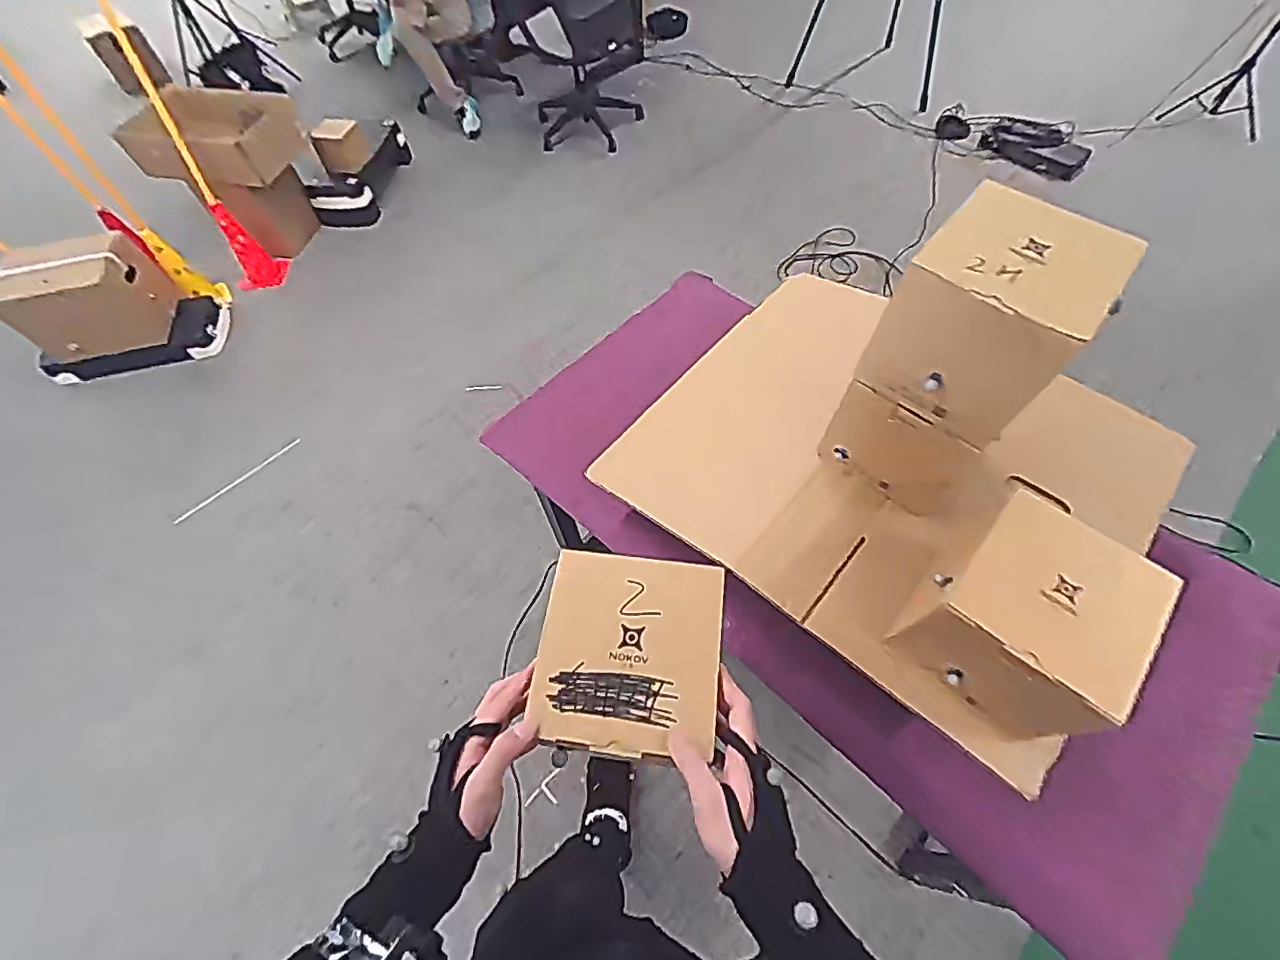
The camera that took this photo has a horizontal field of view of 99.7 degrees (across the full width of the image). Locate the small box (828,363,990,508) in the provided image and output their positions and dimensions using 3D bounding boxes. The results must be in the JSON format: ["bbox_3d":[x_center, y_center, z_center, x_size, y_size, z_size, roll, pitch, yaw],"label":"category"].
[{"bbox_3d":[0.375,-0.093,0.723,0.168,0.176,0.179,37,67,19],"label":"small box"}]

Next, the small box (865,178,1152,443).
[{"bbox_3d":[0.374,-0.176,0.581,0.168,0.176,0.179,37,68,19],"label":"small box"}]

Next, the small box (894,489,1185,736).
[{"bbox_3d":[0.412,0.149,0.588,0.168,0.176,0.179,37,68,20],"label":"small box"}]
